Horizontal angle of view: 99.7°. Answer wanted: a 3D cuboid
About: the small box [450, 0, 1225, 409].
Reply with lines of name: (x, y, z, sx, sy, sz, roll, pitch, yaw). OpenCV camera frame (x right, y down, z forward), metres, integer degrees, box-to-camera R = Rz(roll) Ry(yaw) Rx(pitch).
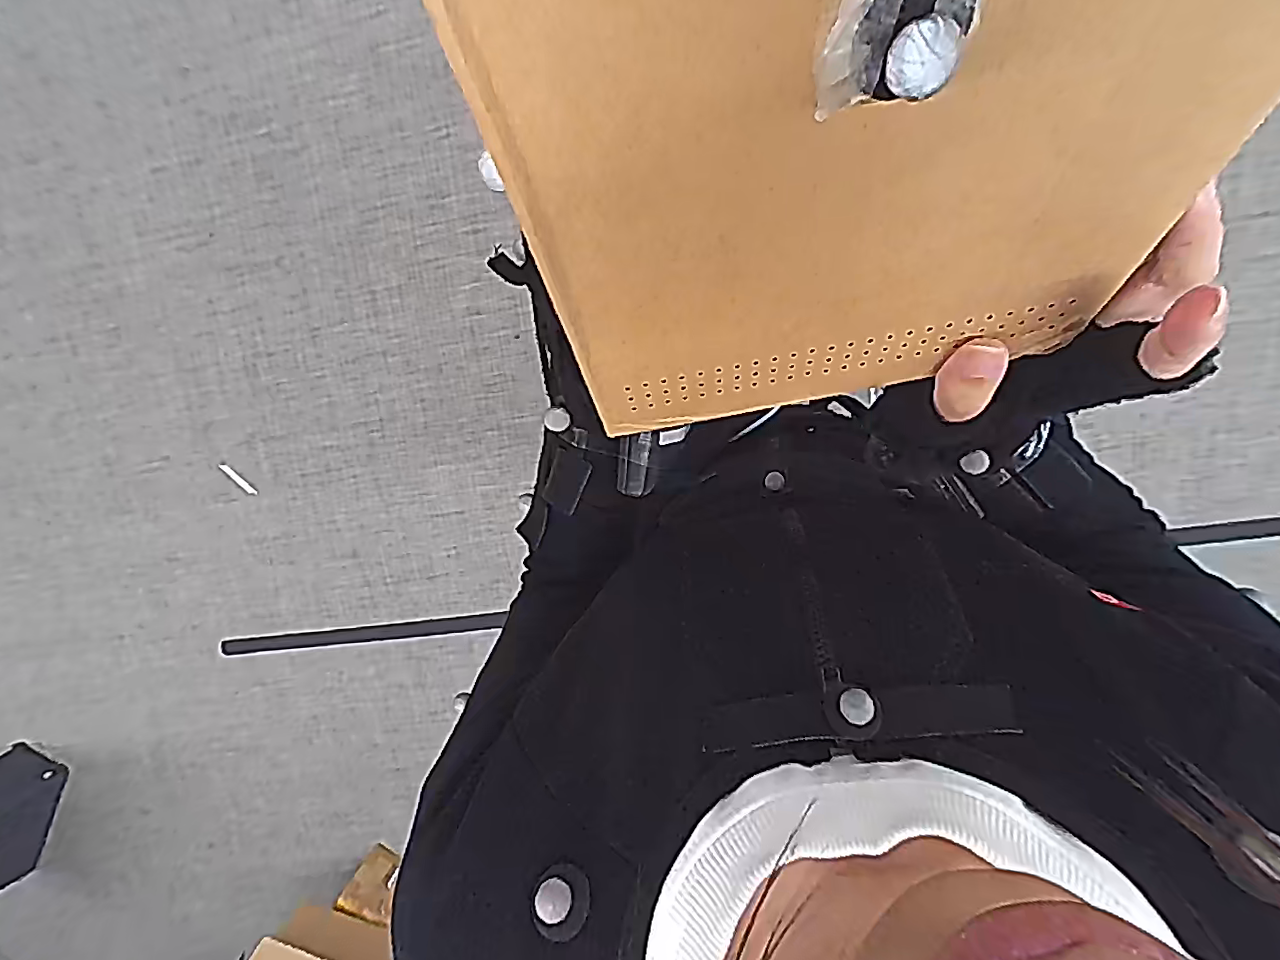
small box: (0.051, -0.143, 0.191, 0.179, 0.176, 0.168, -10, 64, 5)
